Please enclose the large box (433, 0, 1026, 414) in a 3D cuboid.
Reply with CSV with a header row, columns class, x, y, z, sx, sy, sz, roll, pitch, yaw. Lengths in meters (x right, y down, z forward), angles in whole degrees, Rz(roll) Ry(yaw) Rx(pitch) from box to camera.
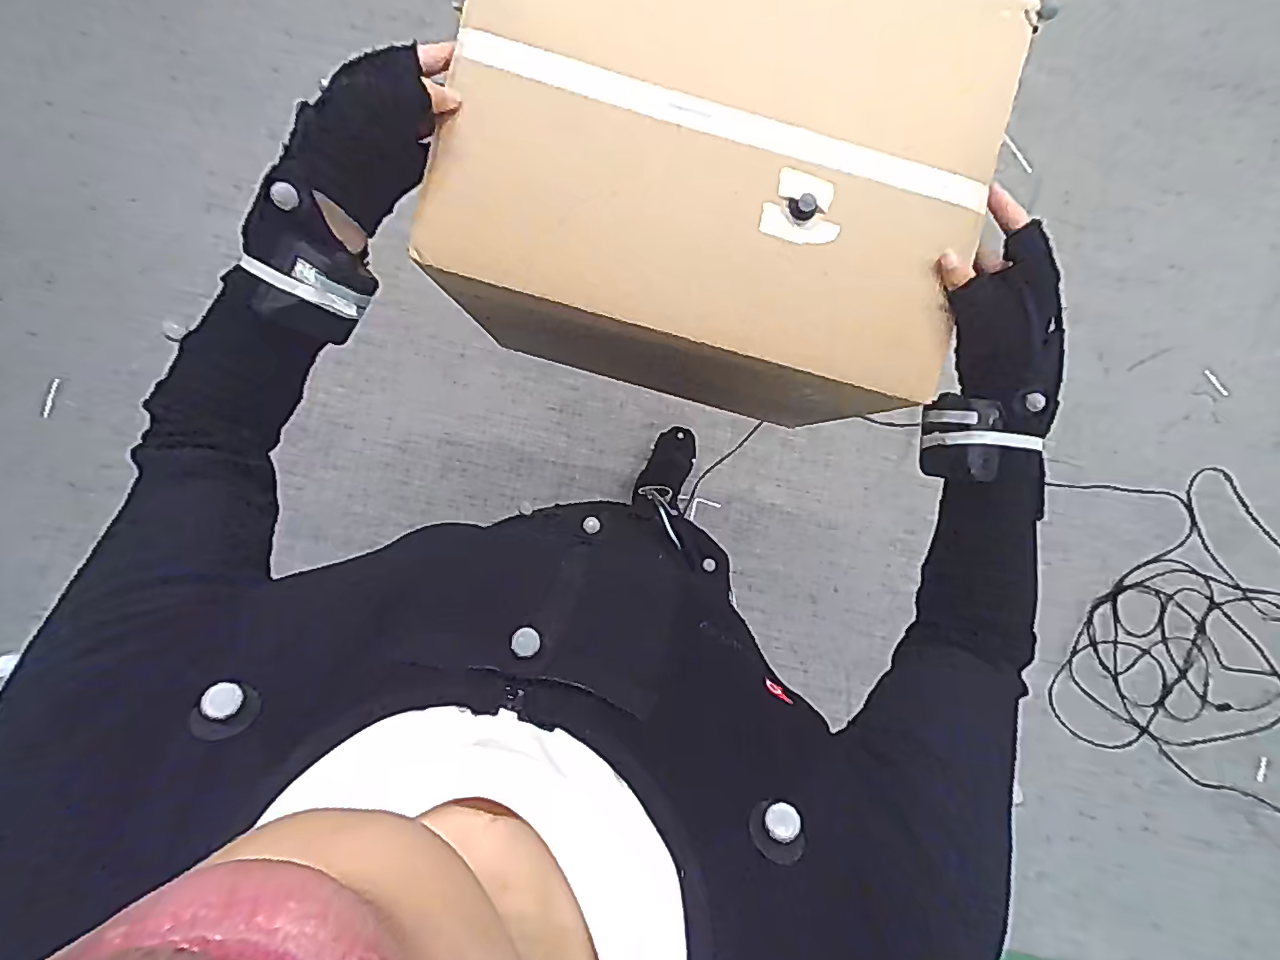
class,x,y,z,sx,sy,sz,roll,pitch,yaw
large box,0.063,-0.274,0.557,0.408,0.320,0.320,15,92,-3
